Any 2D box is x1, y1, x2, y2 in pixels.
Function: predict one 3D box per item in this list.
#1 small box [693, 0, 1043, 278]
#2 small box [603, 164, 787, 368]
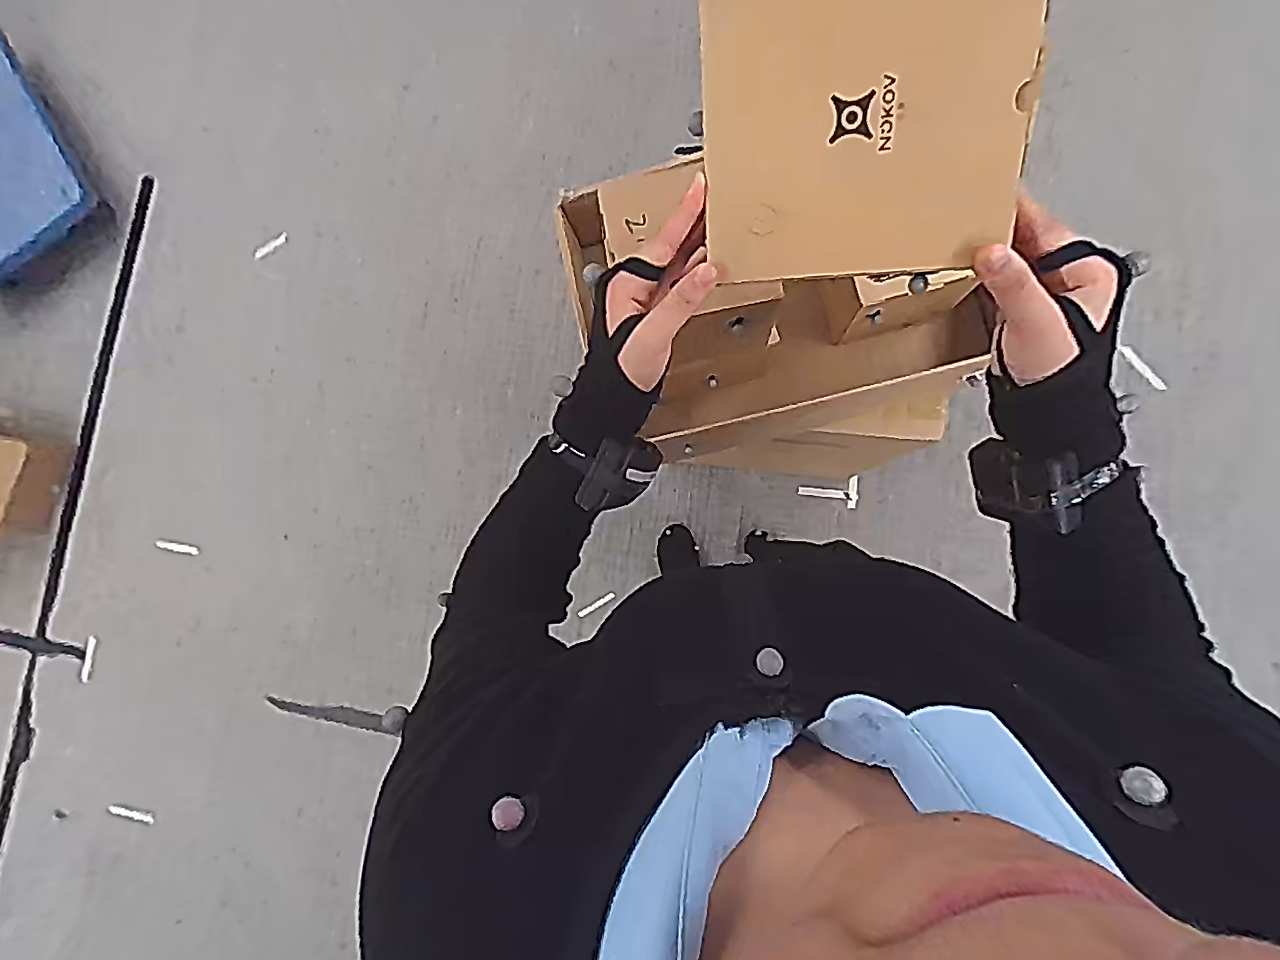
[{"bbox_3d":[0.133,-0.231,0.372,0.179,0.176,0.168,-1,111,10],"label":"small box"},{"bbox_3d":[0.064,-0.247,0.649,0.179,0.176,0.168,-9,84,7],"label":"small box"}]
